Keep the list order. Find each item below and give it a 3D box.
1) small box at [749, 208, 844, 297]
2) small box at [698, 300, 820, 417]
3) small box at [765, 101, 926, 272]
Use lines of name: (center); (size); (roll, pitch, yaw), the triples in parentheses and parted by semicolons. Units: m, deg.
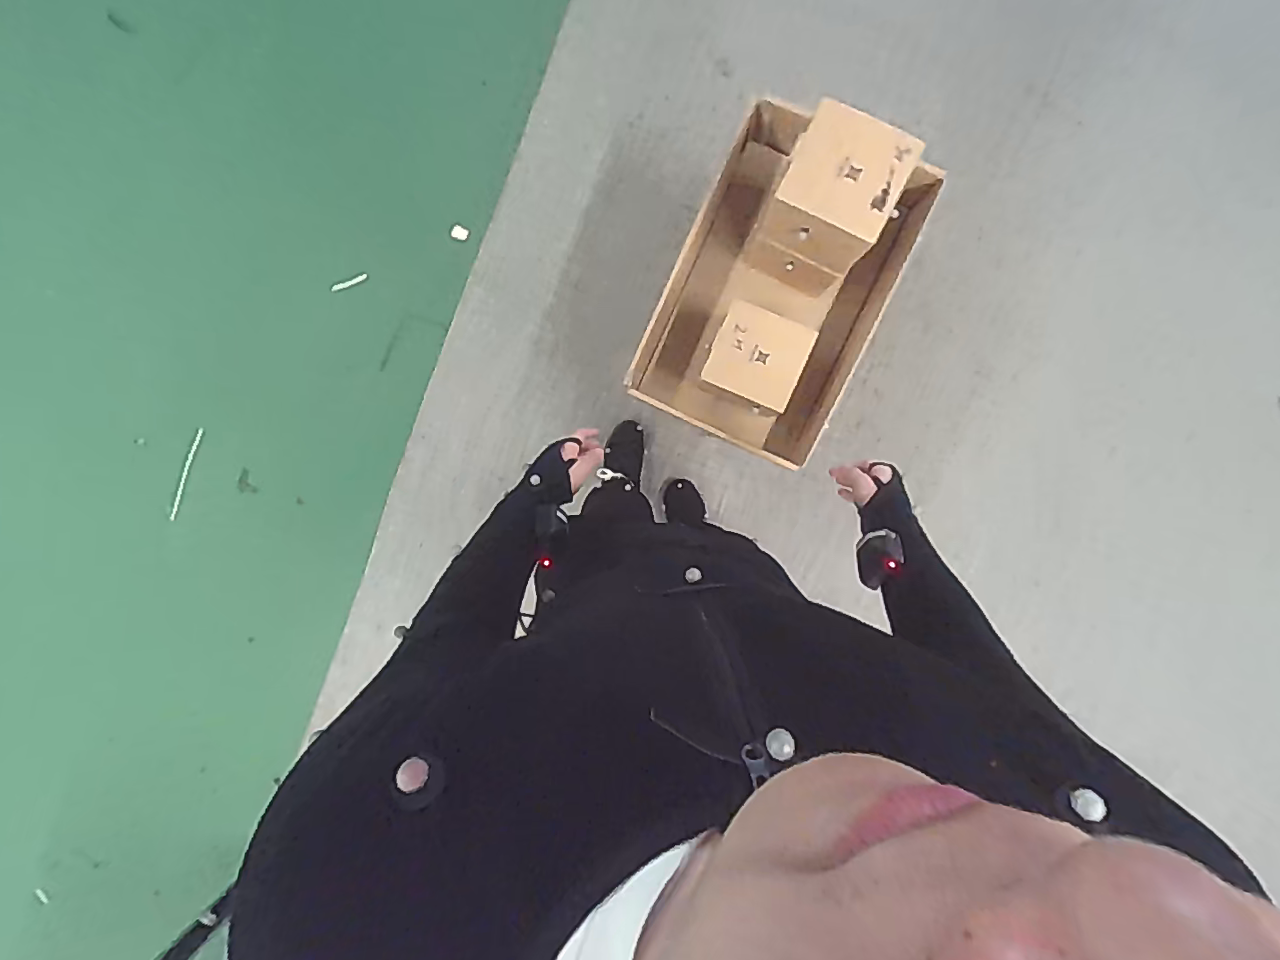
small box: (0.335, -0.487, 1.073); (0.179, 0.176, 0.168); (28, 95, 0)
small box: (0.229, -0.234, 1.091); (0.179, 0.176, 0.168); (24, 94, 2)
small box: (0.329, -0.477, 0.910); (0.179, 0.176, 0.168); (27, 96, 2)
